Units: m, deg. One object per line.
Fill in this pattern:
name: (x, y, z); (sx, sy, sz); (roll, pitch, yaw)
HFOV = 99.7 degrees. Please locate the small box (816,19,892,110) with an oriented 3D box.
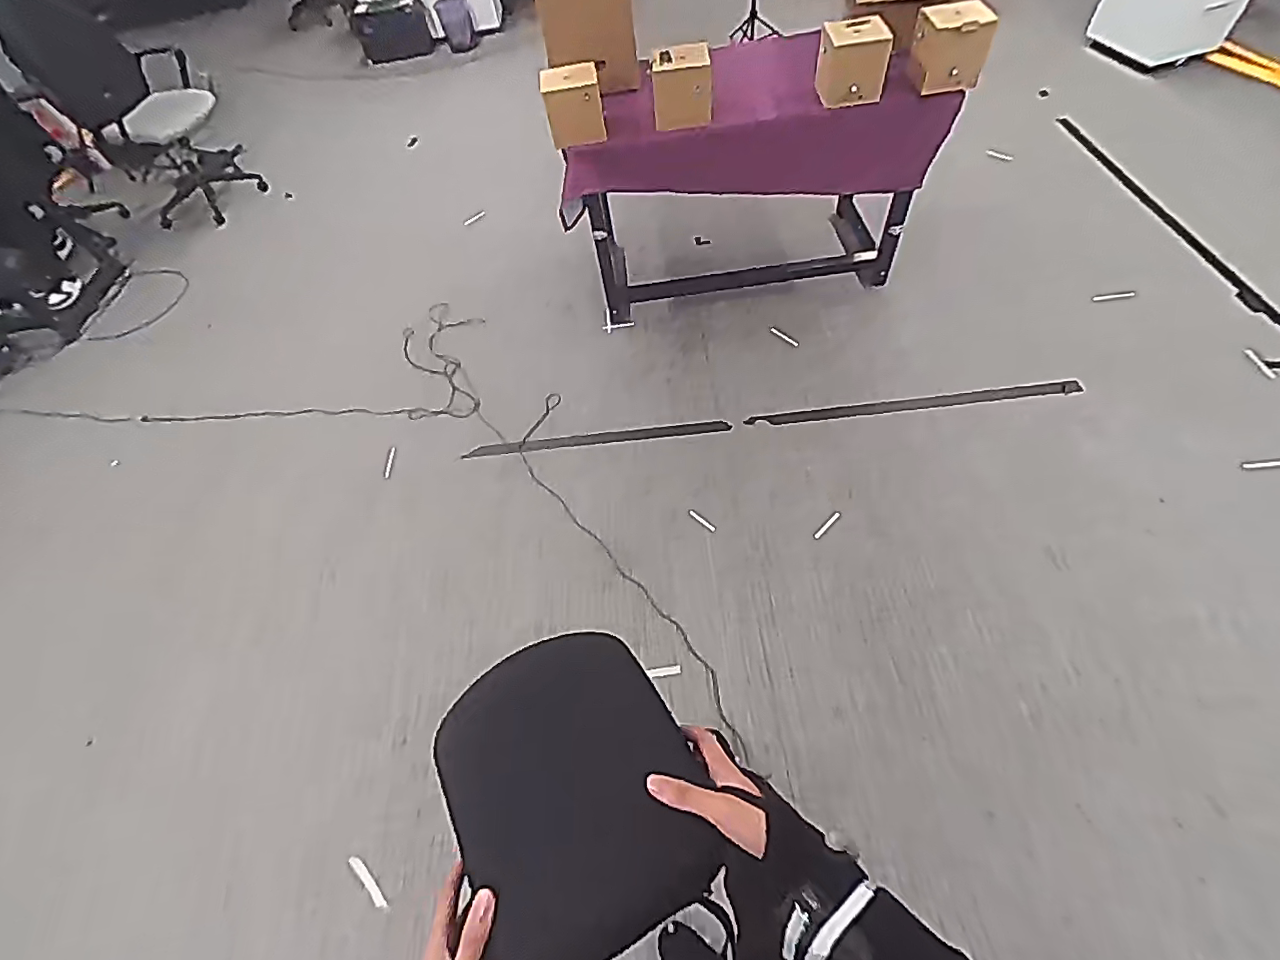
small box: (0.648, -1.272, 1.659); (0.168, 0.176, 0.179); (-5, 57, 6)

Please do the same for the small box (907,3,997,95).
small box: (0.931, -1.298, 1.632); (0.168, 0.176, 0.179); (-4, 56, 6)

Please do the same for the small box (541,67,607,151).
small box: (-0.209, -1.178, 1.724); (0.179, 0.176, 0.168); (-9, 56, 1)
